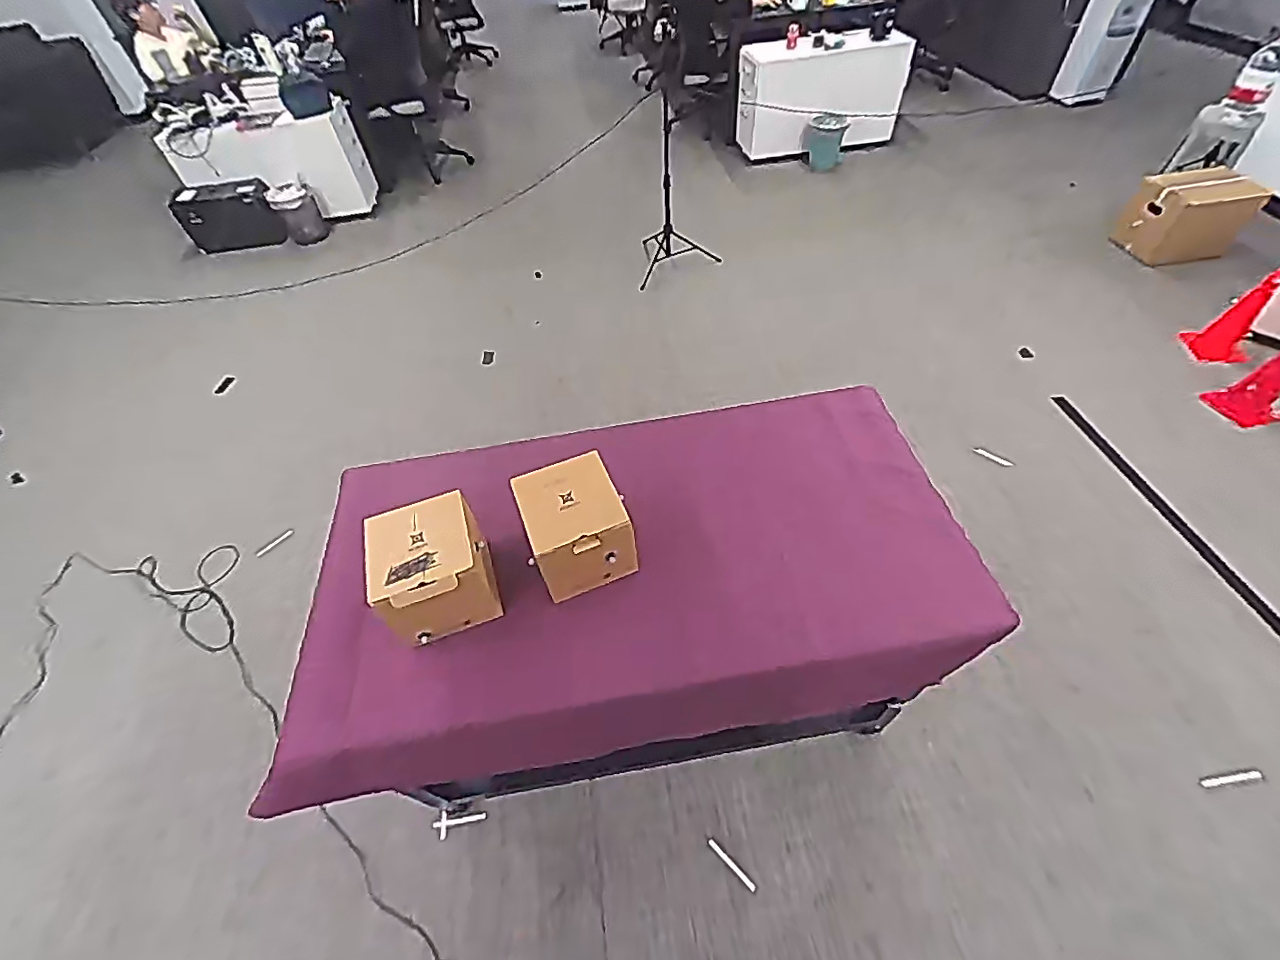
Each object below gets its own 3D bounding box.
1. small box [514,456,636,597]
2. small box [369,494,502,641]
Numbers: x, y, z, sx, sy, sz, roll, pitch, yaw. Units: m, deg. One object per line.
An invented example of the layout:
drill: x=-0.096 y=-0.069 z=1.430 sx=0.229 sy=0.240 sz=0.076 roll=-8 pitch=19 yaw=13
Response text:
small box: x=-0.113 y=0.092 z=0.983 sx=0.168 sy=0.176 sz=0.179 roll=-19 pitch=51 yaw=-11
small box: x=-0.353 y=0.160 z=0.946 sx=0.168 sy=0.176 sz=0.179 roll=-18 pitch=51 yaw=-10
